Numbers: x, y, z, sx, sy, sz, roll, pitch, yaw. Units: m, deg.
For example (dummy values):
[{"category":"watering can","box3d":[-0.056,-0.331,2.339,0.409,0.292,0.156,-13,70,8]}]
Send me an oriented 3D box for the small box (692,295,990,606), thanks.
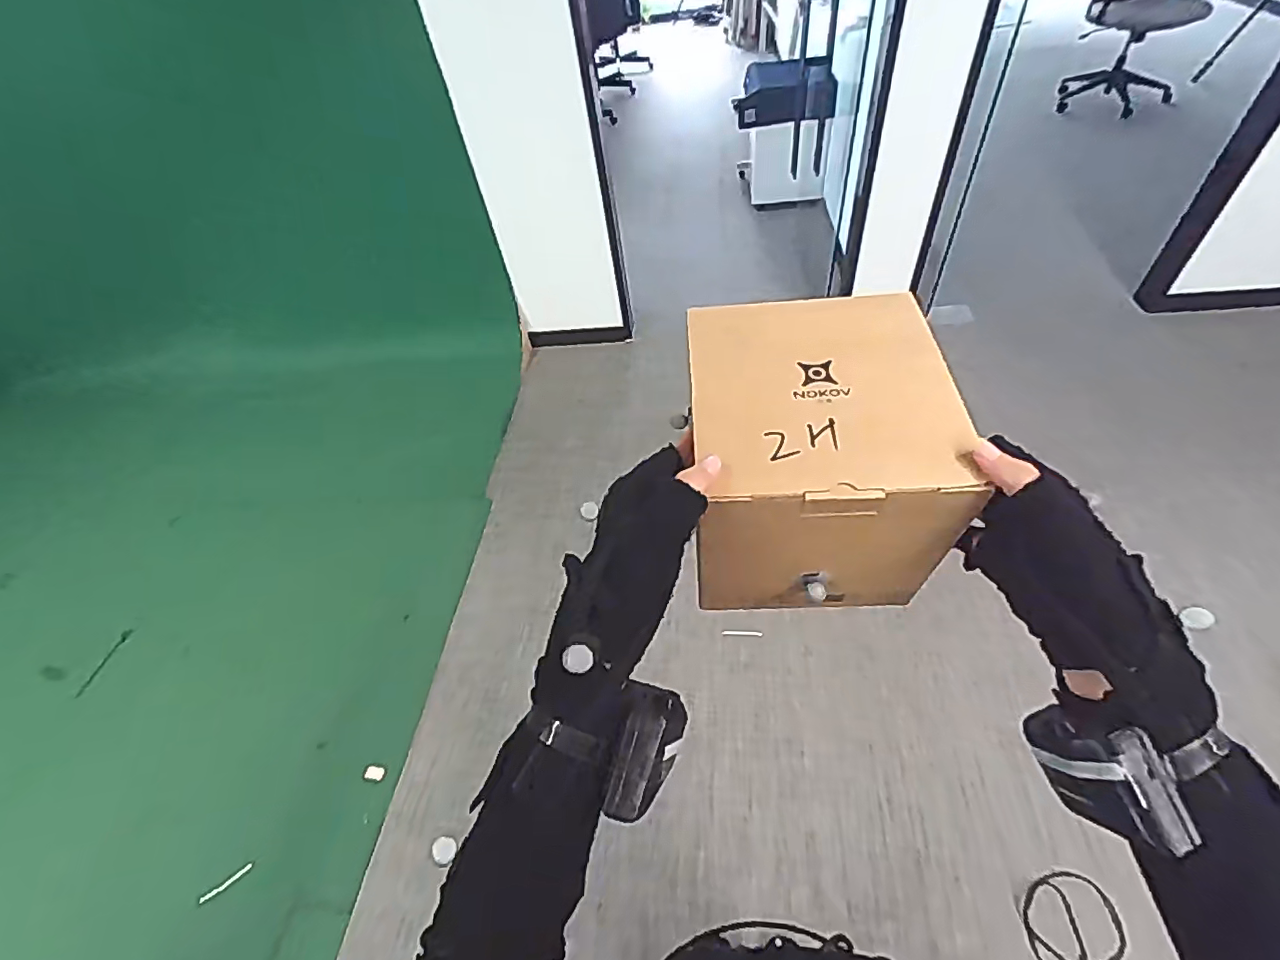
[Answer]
[{"category":"small box","box3d":[0.125,-0.017,0.422,0.168,0.176,0.179,-3,54,6]}]
